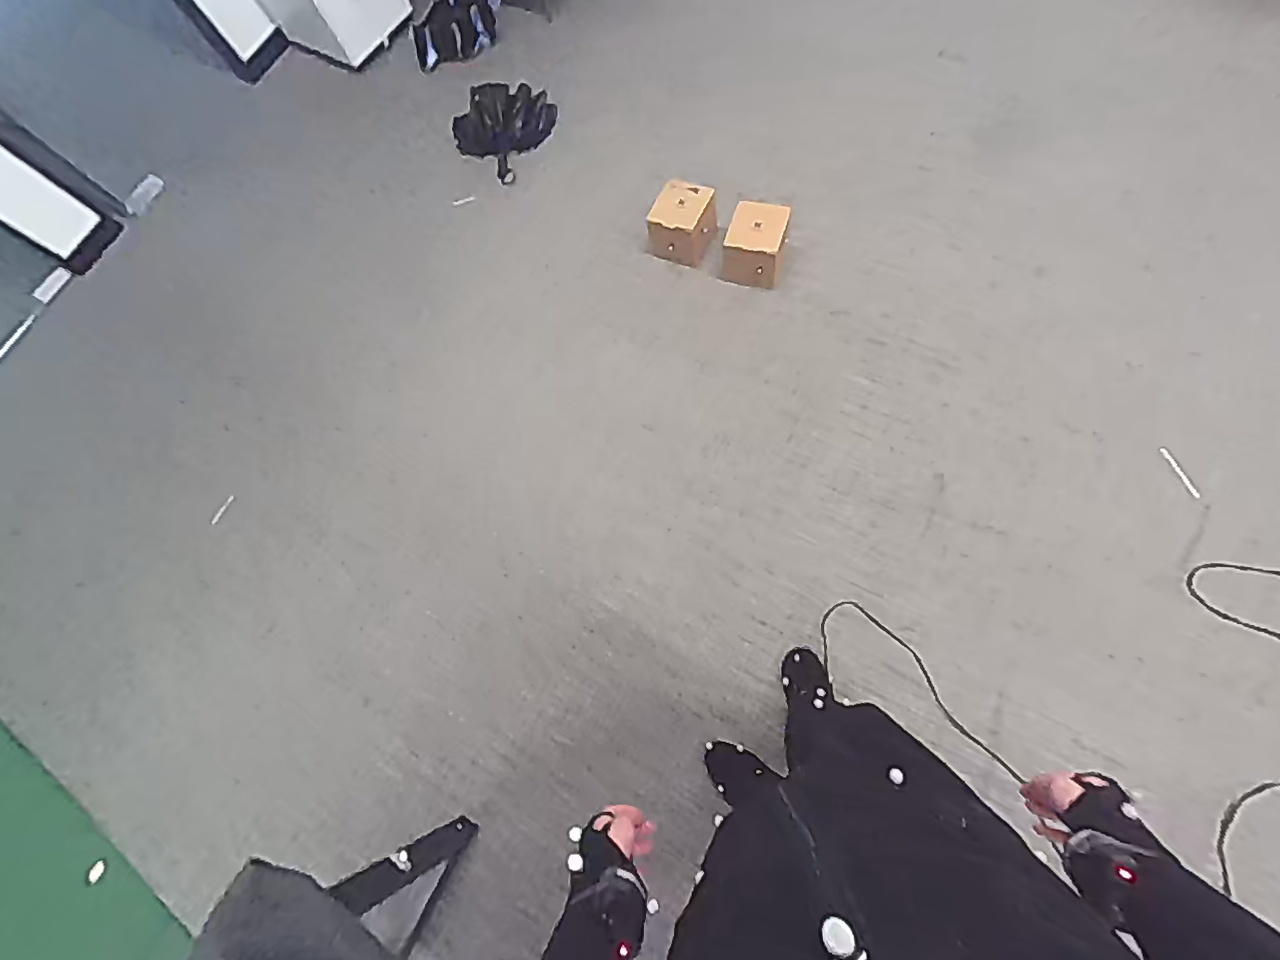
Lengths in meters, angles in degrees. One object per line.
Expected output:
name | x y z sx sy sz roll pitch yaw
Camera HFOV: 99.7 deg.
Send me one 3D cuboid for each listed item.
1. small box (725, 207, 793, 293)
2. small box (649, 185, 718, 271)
small box | 0.372 -0.719 1.698 0.168 0.176 0.179 16 72 14
small box | 0.151 -0.823 1.777 0.168 0.176 0.179 23 77 18
